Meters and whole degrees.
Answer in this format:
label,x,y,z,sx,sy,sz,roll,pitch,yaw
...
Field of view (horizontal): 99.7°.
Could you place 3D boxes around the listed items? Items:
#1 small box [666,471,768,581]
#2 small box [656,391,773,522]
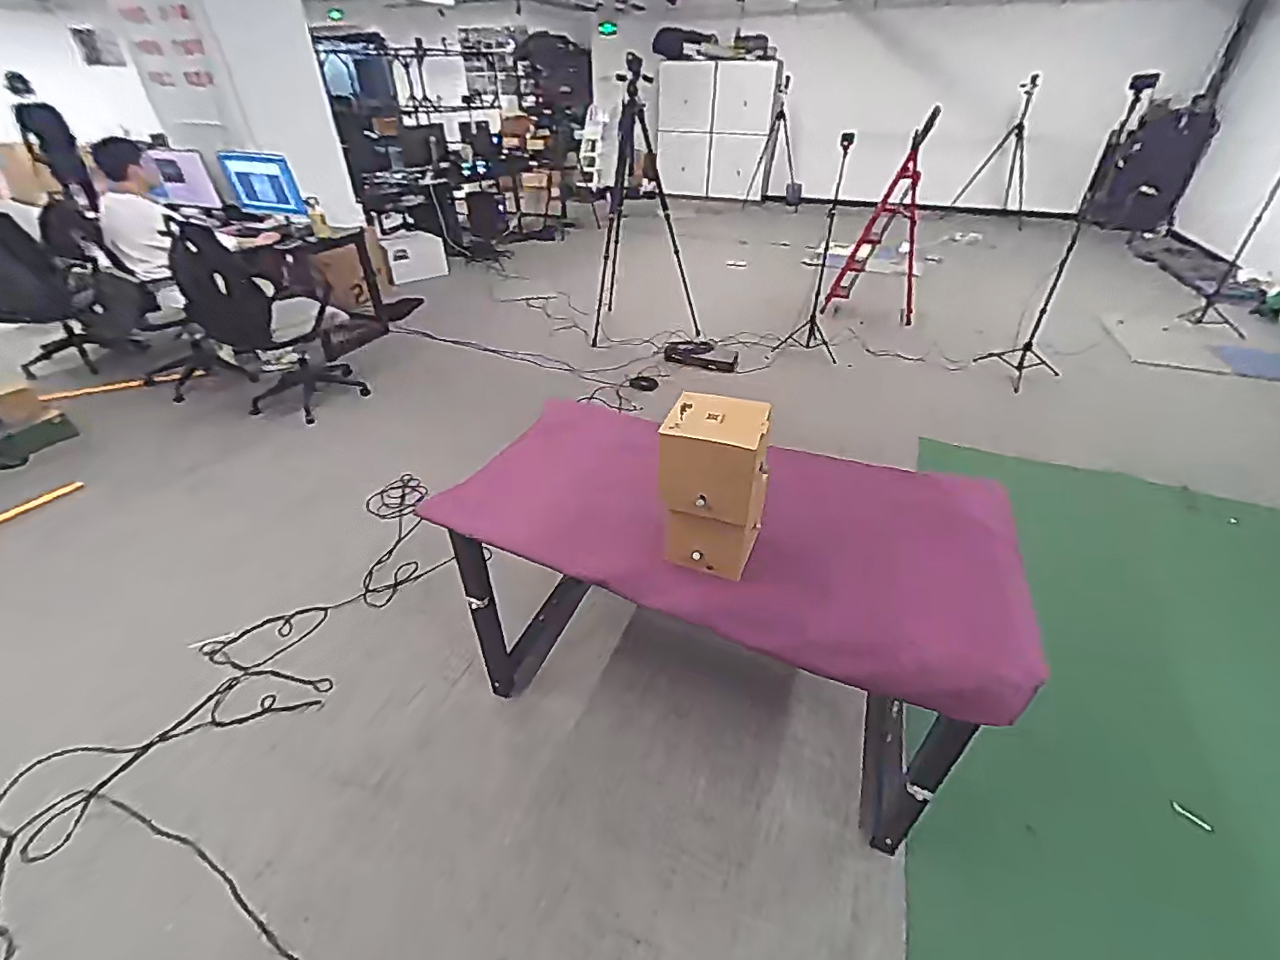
label,x,y,z,sx,sy,sz,roll,pitch,yaw
small box,0.155,0.076,1.120,0.168,0.176,0.179,14,38,19
small box,0.137,-0.043,1.007,0.179,0.176,0.168,12,38,17
